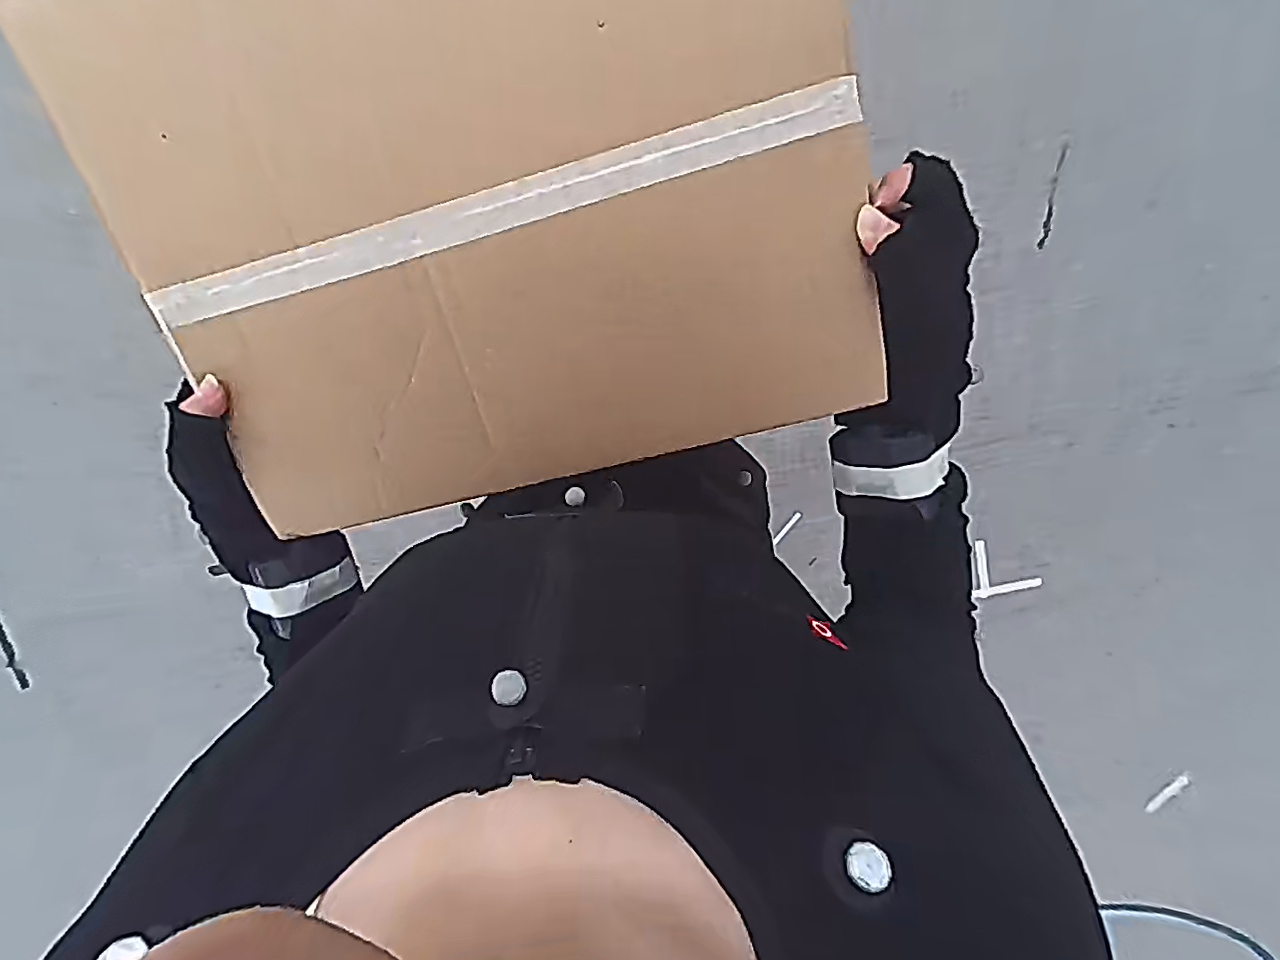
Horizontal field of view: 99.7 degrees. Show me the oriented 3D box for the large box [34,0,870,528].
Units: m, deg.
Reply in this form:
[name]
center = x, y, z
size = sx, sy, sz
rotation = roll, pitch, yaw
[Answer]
[large box]
center = -0.081, -0.202, 0.443
size = 0.408, 0.320, 0.320
rotation = -13, 109, 8
